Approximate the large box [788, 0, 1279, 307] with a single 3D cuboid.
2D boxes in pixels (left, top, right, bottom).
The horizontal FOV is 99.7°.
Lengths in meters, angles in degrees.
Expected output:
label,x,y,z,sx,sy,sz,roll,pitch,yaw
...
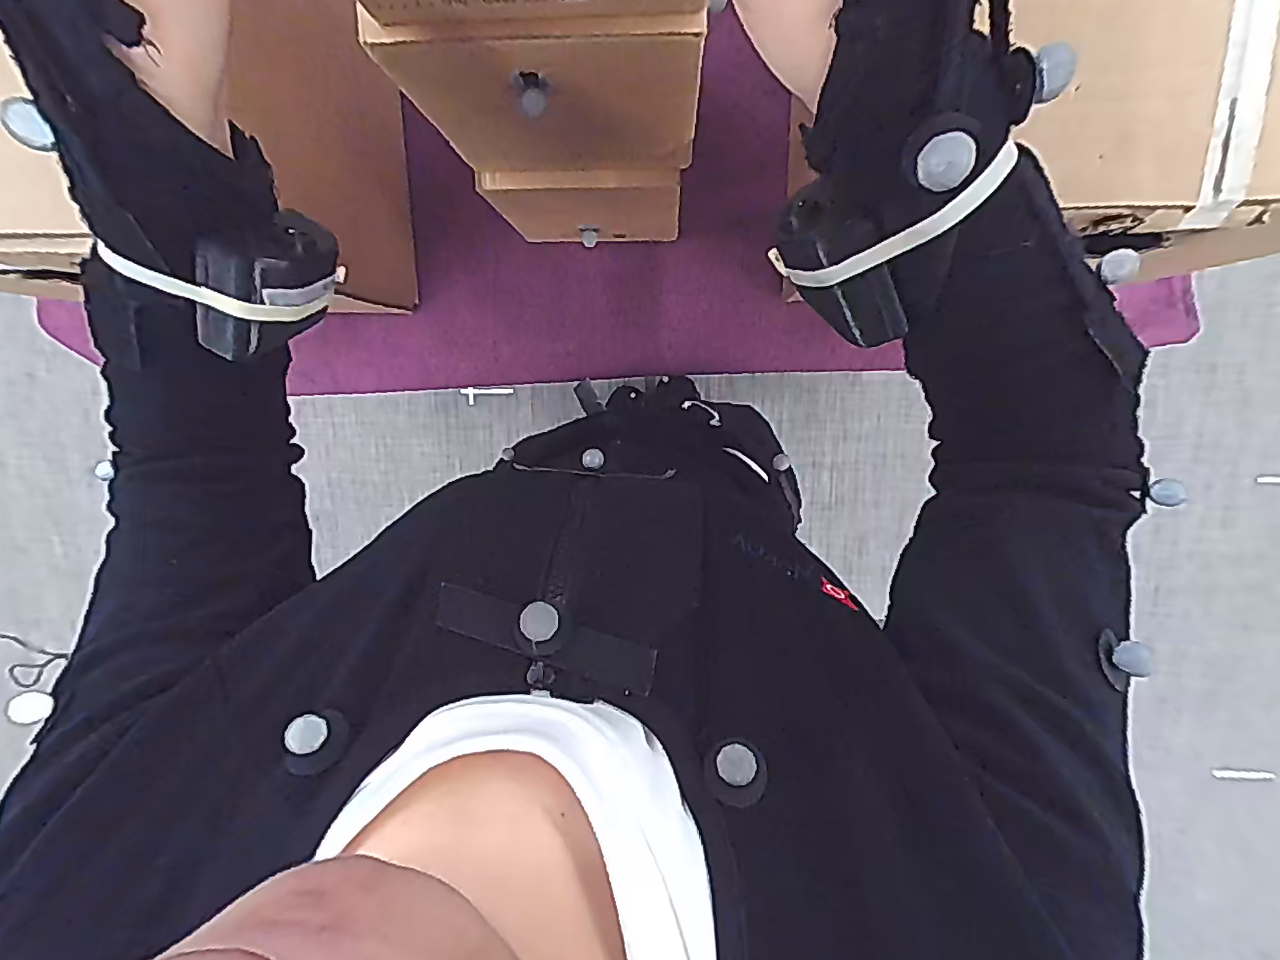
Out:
label,x,y,z,sx,sy,sz,roll,pitch,yaw
large box,0.294,-0.362,0.400,0.320,0.320,0.408,0,99,3
